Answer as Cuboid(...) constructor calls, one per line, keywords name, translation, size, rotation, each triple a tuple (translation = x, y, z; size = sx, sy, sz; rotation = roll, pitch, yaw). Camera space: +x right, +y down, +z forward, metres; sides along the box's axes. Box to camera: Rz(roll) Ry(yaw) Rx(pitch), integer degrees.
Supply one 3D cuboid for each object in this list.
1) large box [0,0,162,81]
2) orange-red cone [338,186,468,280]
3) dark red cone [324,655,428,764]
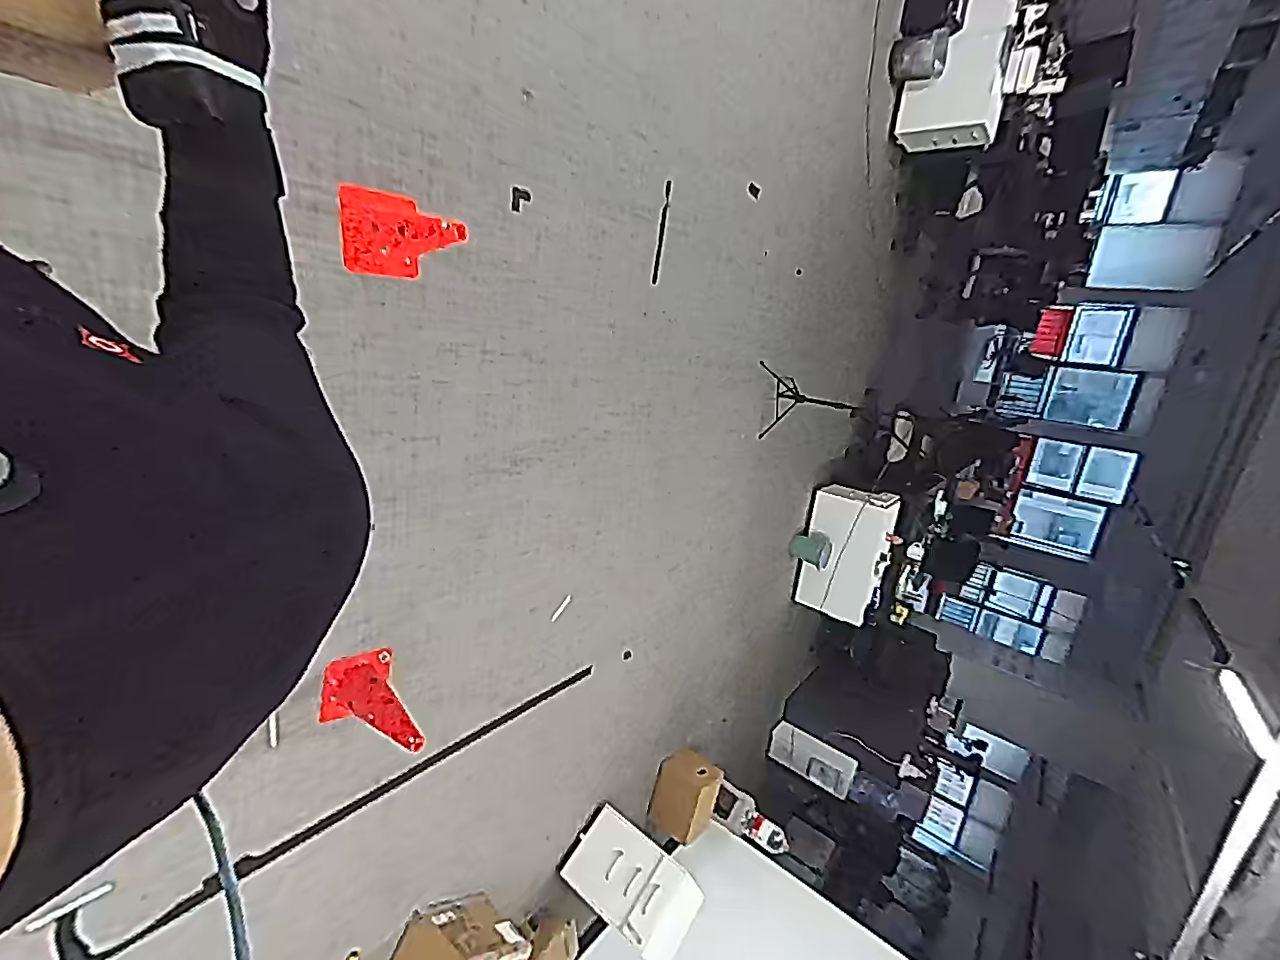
Cuboid(name="large box", translation=(-0.544, -0.449, 0.254), size=(0.408, 0.320, 0.320), rotation=(-15, 122, -50))
Cuboid(name="orange-red cone", translation=(-0.532, -0.585, 1.283), size=(0.198, 0.360, 0.199), rotation=(-15, 115, -51))
Cuboid(name="dark red cone", translation=(-0.719, 0.677, 1.535), size=(0.201, 0.394, 0.202), rotation=(-1, 105, -52))
